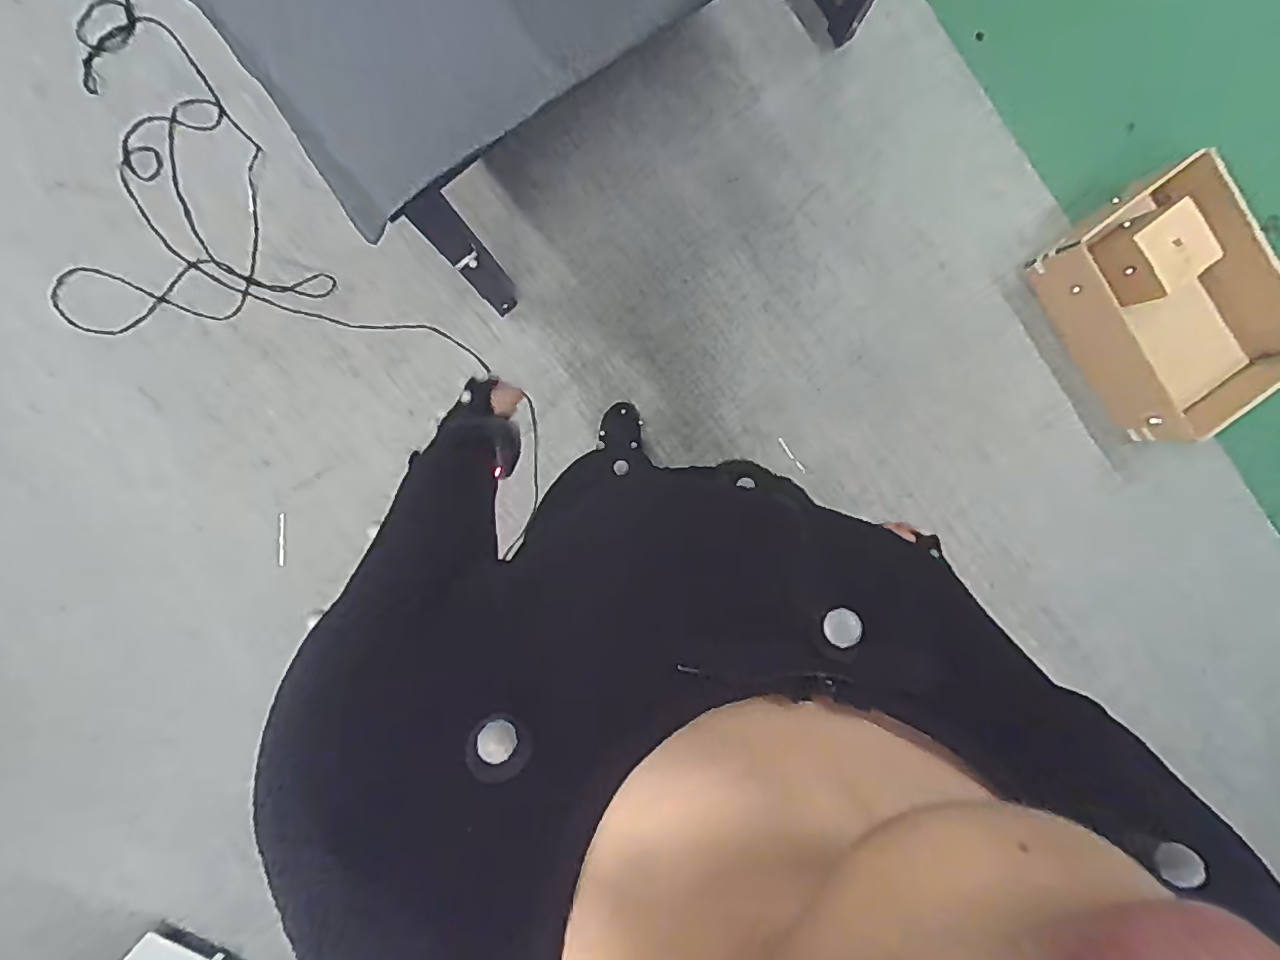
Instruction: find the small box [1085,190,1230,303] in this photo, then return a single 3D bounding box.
[{"bbox_3d":[1.278,-0.572,1.351,0.168,0.176,0.179,-37,97,2],"label":"small box"}]
